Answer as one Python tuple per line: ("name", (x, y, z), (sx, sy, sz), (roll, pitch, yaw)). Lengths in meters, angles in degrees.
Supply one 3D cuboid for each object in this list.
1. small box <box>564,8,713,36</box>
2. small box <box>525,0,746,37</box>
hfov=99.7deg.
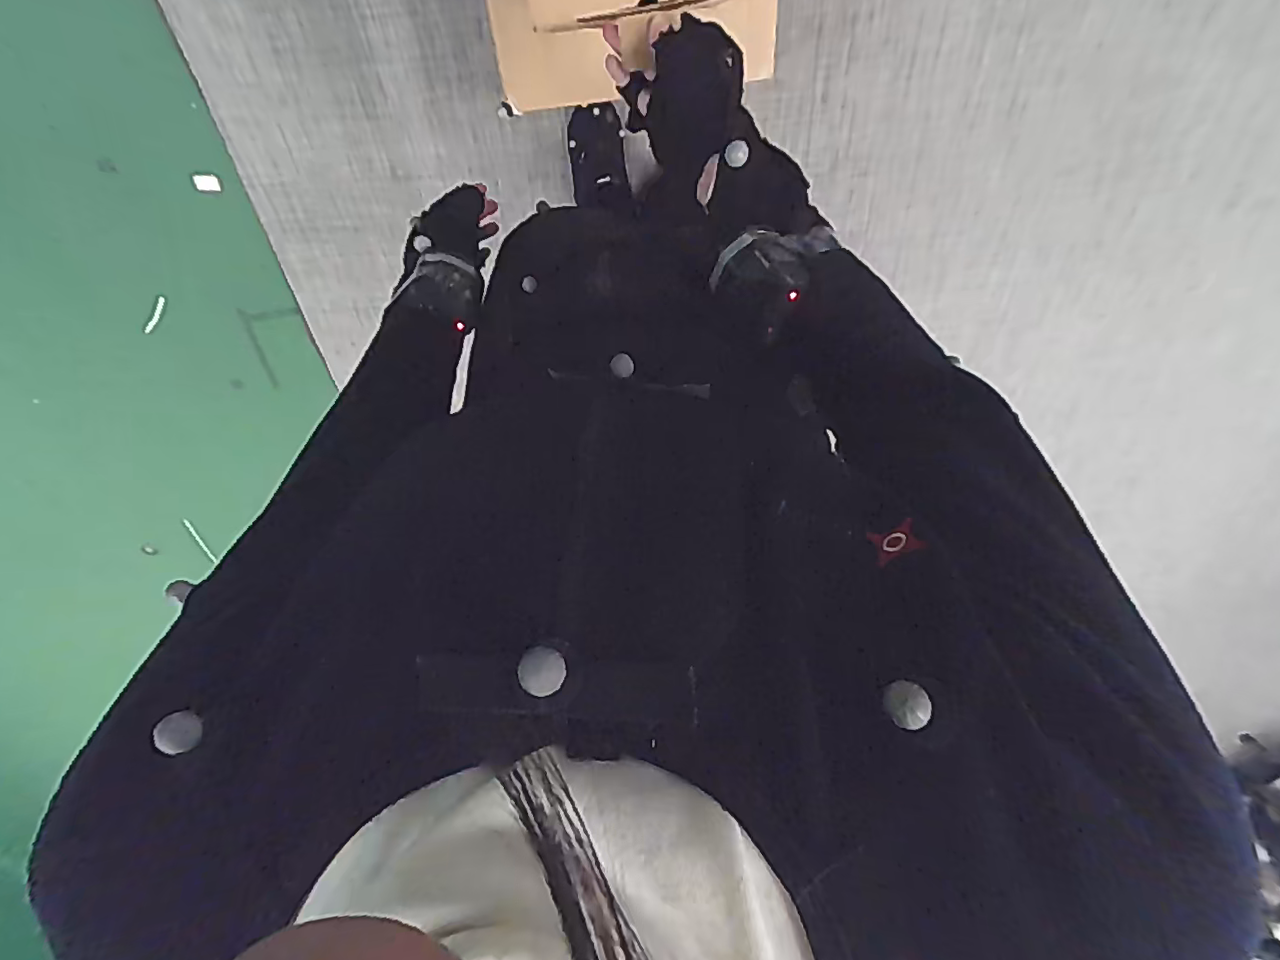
("small box", (-0.021, -0.554, 0.517), (0.168, 0.176, 0.179), (-8, 133, 2))
("small box", (-0.011, -0.446, 0.388), (0.168, 0.176, 0.179), (-8, 130, 3))
